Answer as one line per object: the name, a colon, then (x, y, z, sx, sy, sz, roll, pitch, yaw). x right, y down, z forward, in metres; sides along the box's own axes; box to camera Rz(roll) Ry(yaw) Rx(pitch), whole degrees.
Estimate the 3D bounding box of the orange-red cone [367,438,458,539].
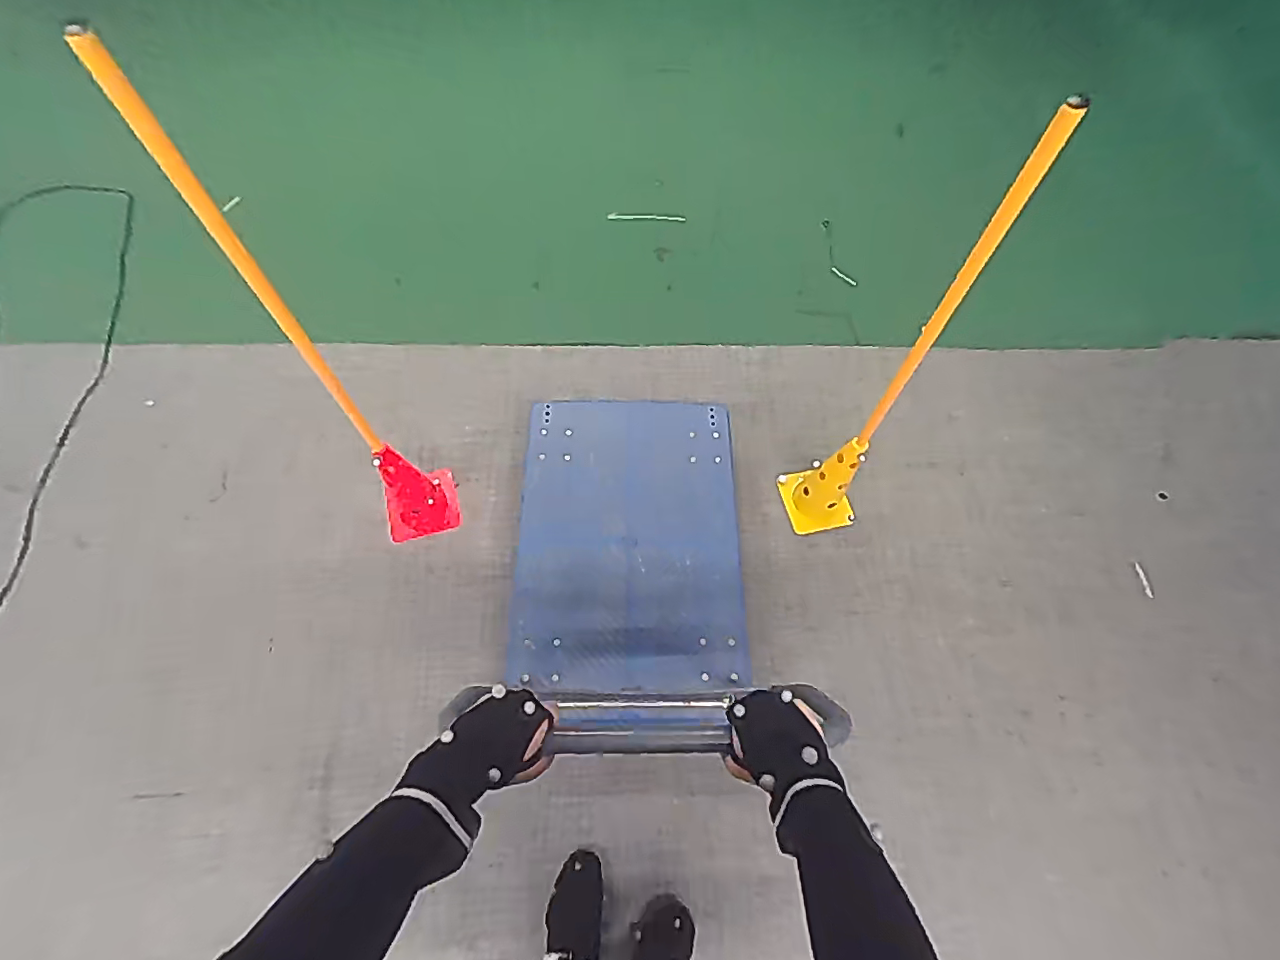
orange-red cone: (-0.636, -0.006, 1.433, 0.199, 0.360, 0.198, -14, 66, -9)
